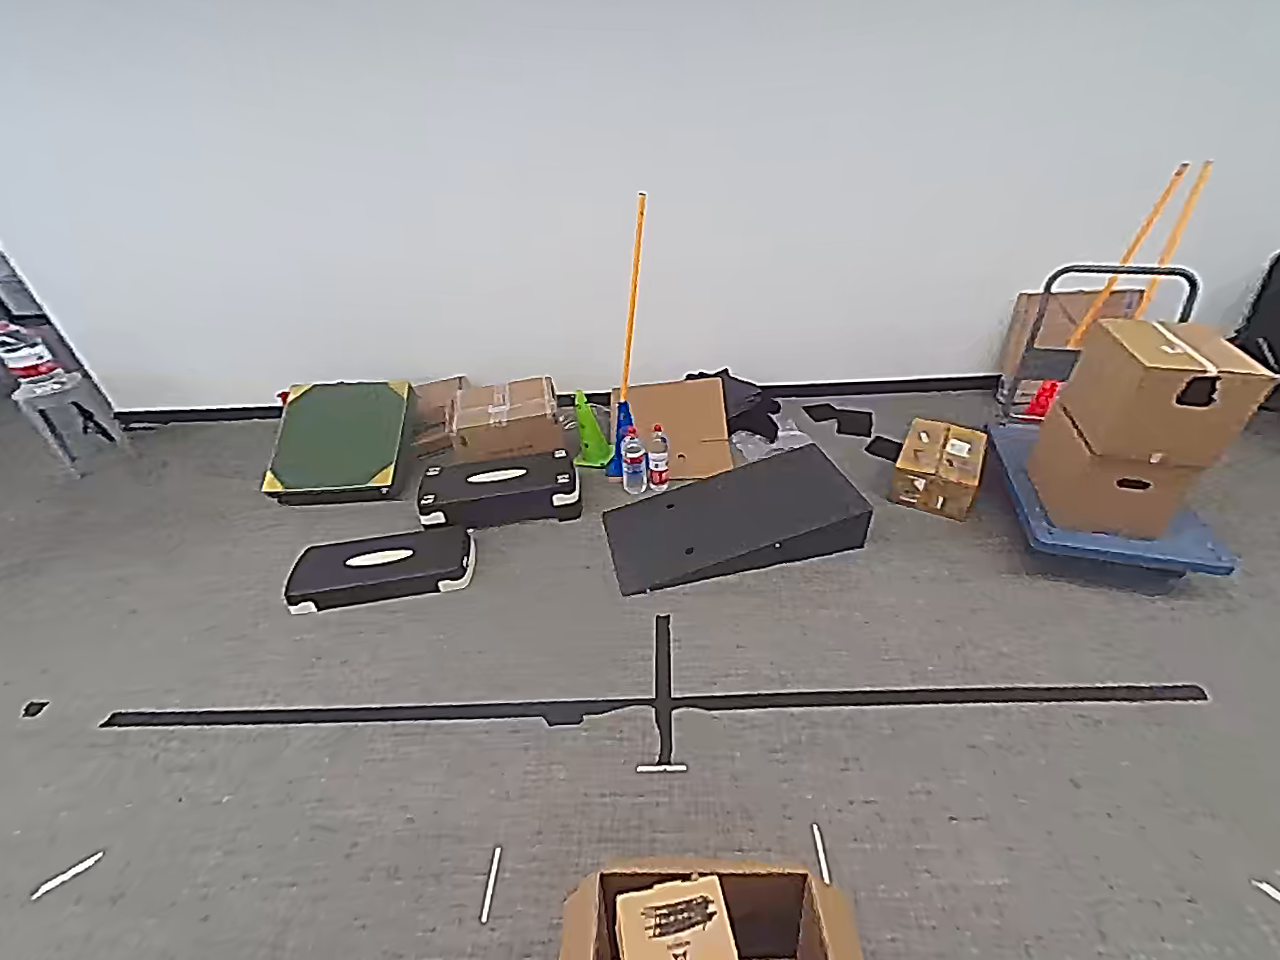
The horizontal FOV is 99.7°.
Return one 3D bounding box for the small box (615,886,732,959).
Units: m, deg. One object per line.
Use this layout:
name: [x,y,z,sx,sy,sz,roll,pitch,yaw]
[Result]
small box: [0.064,0.872,0.957,0.179,0.176,0.168,-12,39,-17]
